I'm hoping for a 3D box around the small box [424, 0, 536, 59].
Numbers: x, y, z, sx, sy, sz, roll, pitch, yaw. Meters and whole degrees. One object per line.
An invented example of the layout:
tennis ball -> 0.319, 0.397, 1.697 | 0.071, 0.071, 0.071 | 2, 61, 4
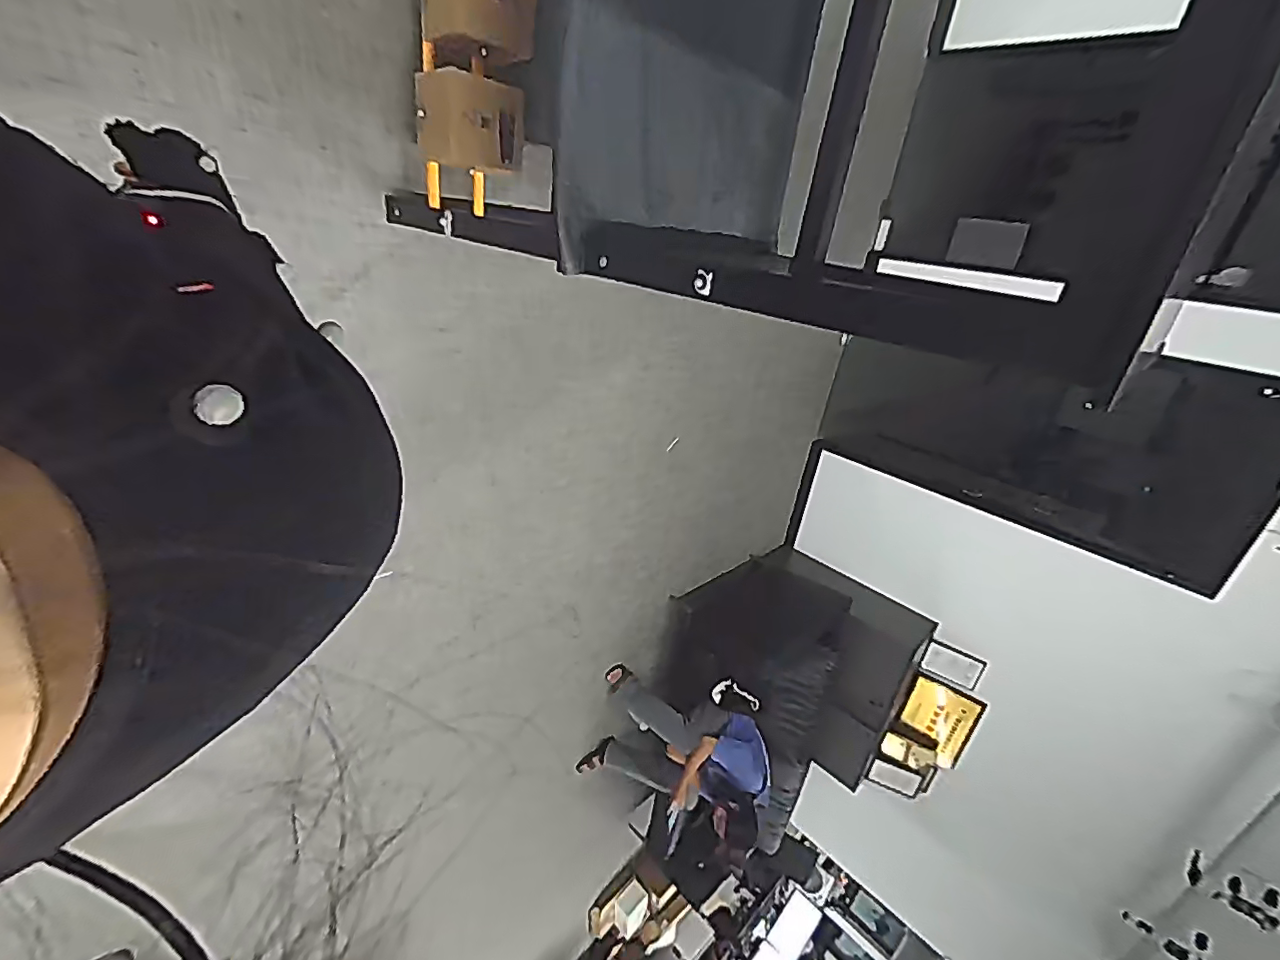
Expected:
small box -> -0.336, -1.001, 1.125 | 0.179, 0.176, 0.168 | -16, 126, -42
